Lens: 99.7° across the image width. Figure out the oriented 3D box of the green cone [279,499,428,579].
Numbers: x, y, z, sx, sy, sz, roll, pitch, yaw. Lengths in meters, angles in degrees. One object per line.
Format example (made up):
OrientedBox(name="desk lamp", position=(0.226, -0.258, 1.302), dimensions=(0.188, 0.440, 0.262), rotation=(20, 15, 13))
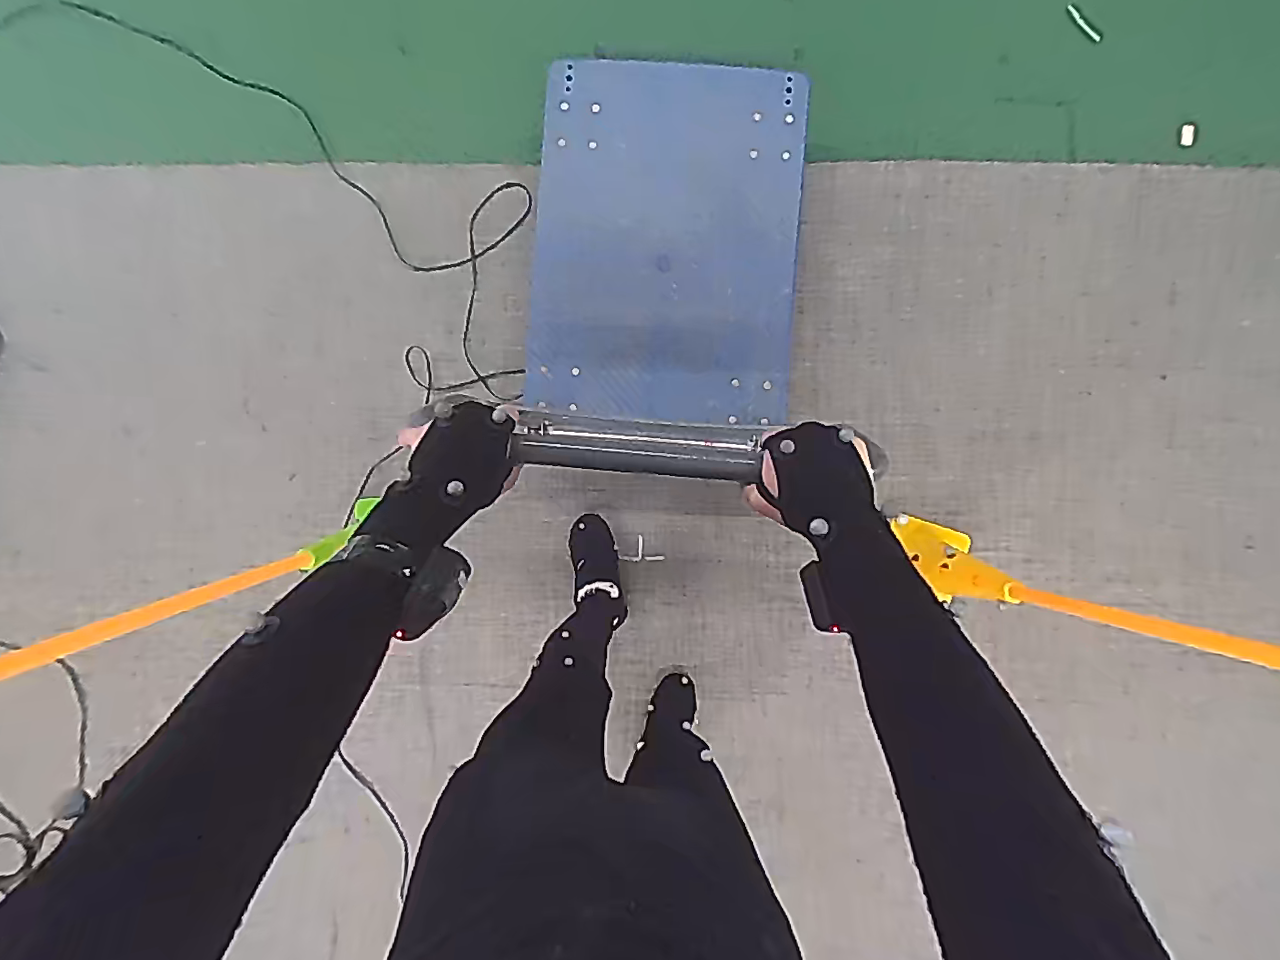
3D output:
OrientedBox(name="green cone", position=(-0.645, 0.150, 1.194), dimensions=(0.202, 0.368, 0.200), rotation=(-3, 90, 3))
